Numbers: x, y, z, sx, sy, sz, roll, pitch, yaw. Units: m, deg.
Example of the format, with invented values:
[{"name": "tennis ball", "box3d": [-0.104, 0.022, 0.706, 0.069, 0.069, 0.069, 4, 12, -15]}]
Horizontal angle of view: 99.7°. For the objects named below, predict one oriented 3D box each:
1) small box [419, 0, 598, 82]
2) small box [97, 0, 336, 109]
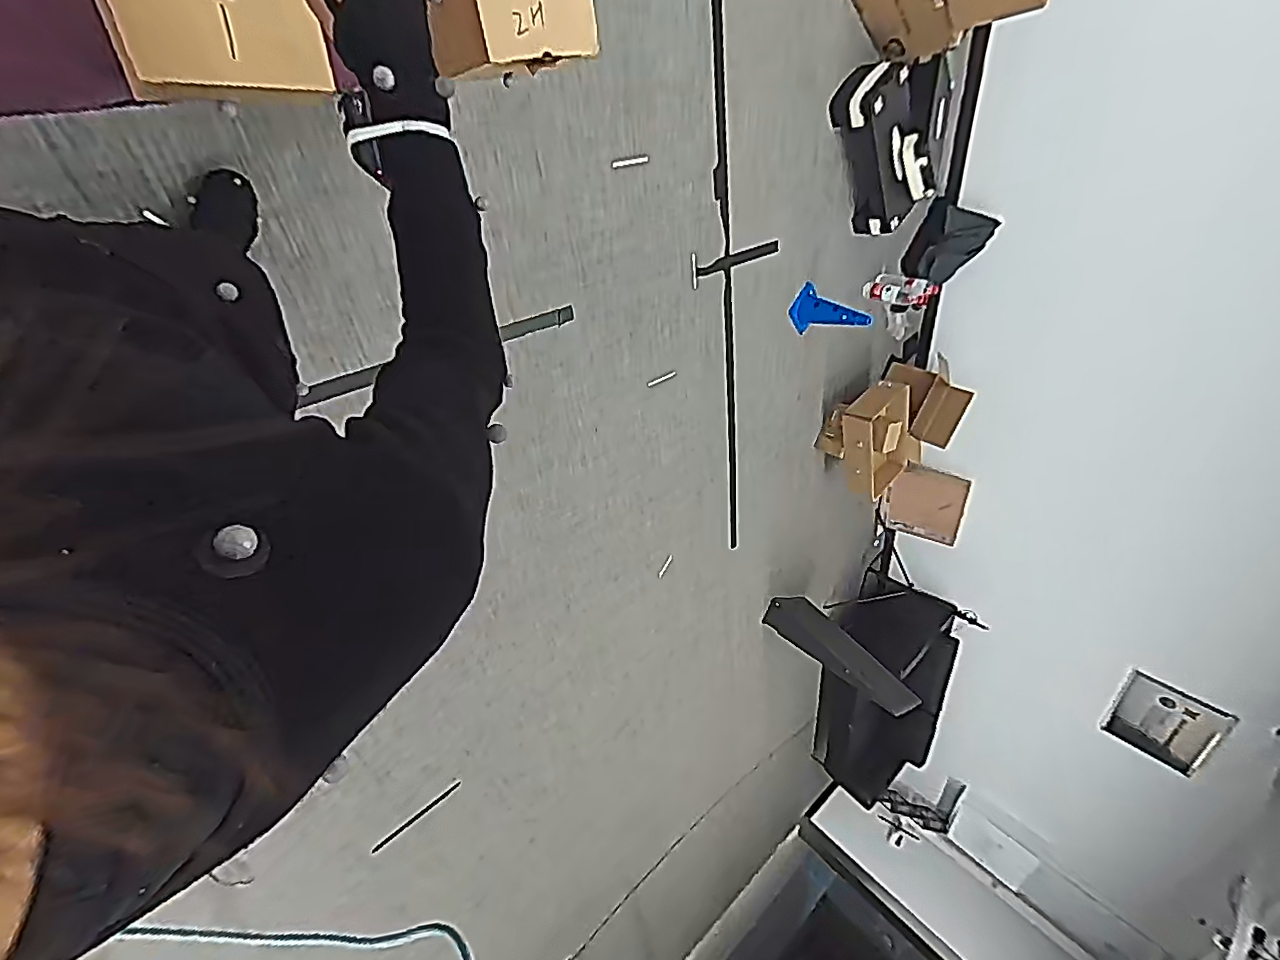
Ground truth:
[{"name": "small box", "box3d": [-0.180, -0.632, 0.690, 0.168, 0.176, 0.179, -29, 129, -28]}, {"name": "small box", "box3d": [-0.433, -0.483, 0.534, 0.168, 0.176, 0.179, -24, 127, -33]}]
